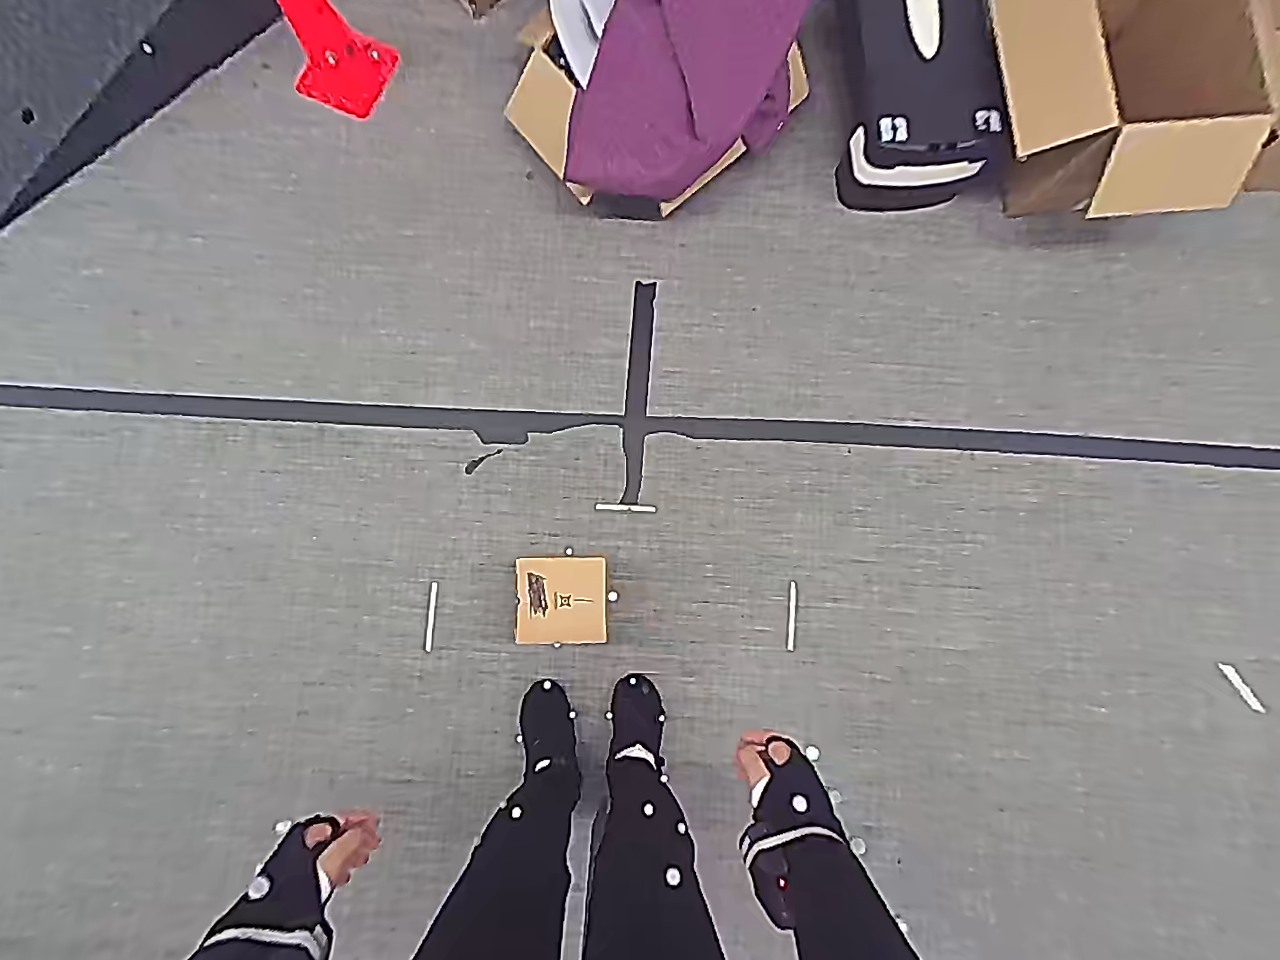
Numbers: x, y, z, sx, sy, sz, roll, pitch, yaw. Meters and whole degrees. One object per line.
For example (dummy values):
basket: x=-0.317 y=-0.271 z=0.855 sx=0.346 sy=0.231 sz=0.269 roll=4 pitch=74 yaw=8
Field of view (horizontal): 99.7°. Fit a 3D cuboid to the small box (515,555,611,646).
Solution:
small box: x=-0.151 y=0.243 z=1.115 sx=0.179 sy=0.176 sz=0.168 roll=0 pitch=85 yaw=-1
